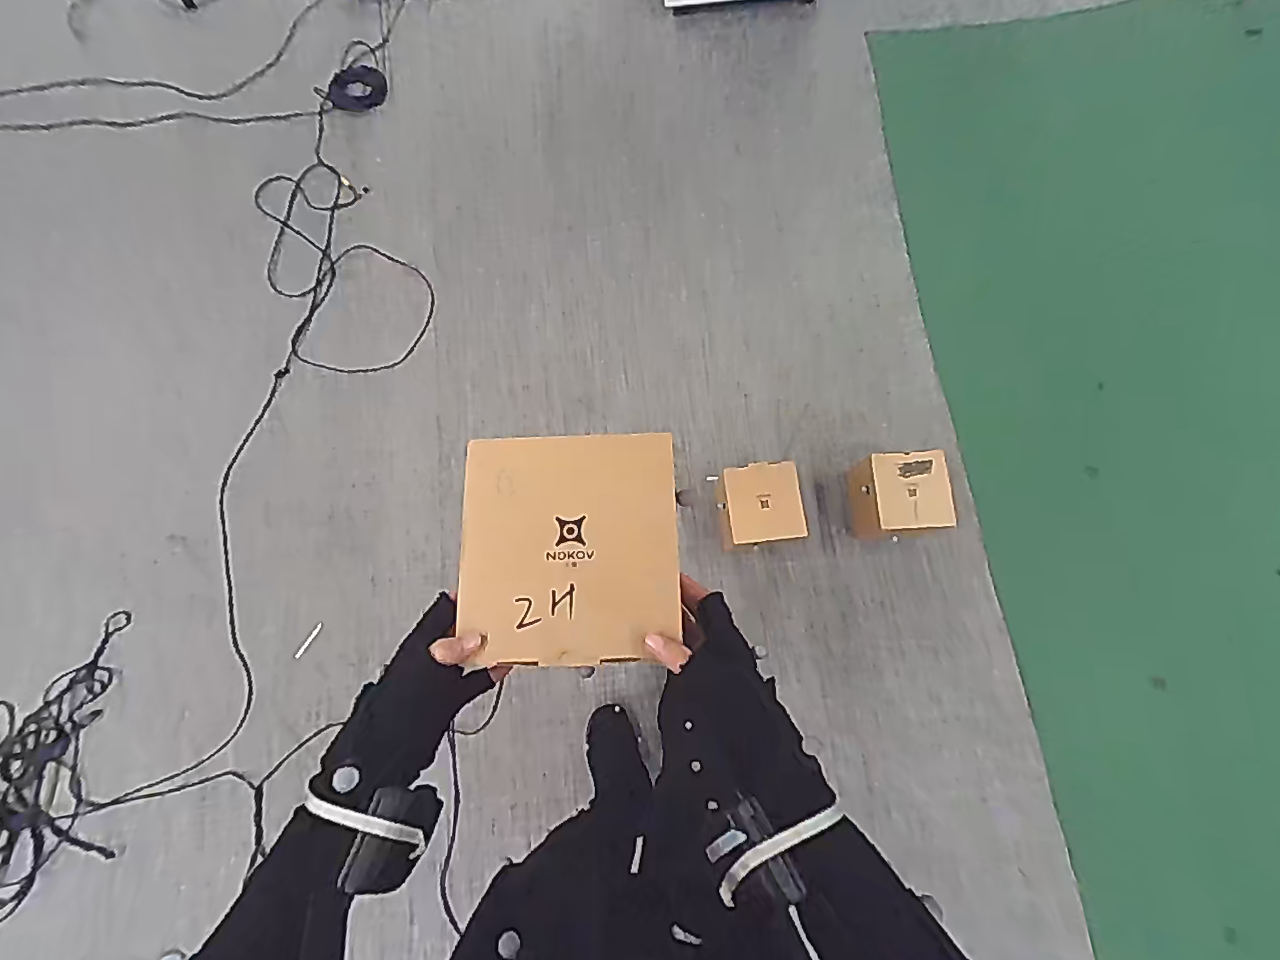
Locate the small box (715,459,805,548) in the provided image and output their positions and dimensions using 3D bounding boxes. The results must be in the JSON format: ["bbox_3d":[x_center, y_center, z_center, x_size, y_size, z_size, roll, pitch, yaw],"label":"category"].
[{"bbox_3d":[0.277,0.063,1.280,0.168,0.176,0.179,-7,75,0],"label":"small box"}]

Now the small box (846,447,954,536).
[{"bbox_3d":[0.601,0.032,1.274,0.168,0.176,0.179,-3,77,1],"label":"small box"}]
